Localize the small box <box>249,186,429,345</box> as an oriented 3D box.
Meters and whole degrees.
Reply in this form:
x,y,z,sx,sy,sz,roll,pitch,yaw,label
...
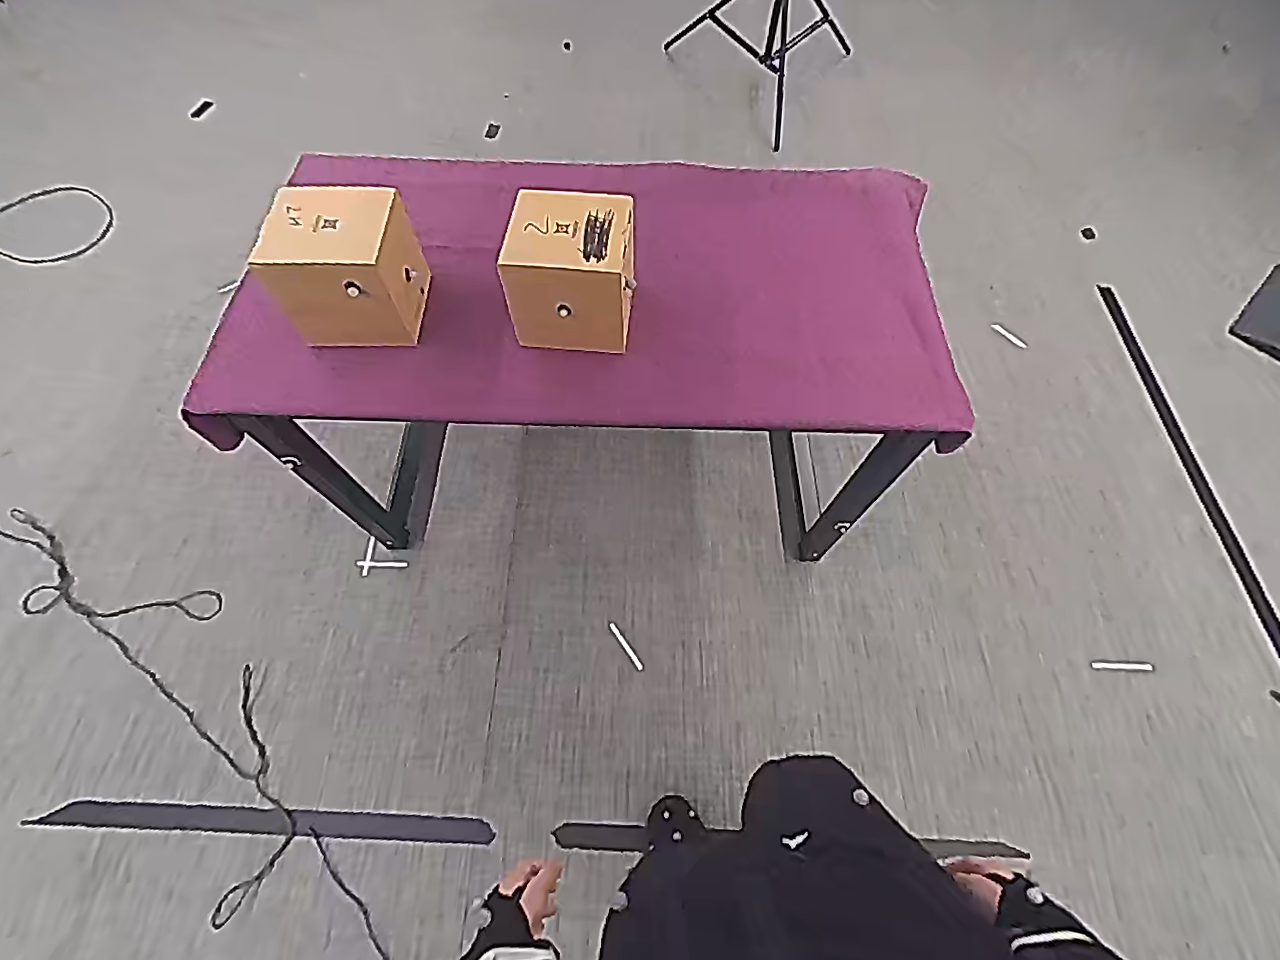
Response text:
x,y,z,sx,sy,sz,roll,pitch,yaw,label
-0.448,-0.327,0.844,0.179,0.176,0.168,-1,62,-1,small box
